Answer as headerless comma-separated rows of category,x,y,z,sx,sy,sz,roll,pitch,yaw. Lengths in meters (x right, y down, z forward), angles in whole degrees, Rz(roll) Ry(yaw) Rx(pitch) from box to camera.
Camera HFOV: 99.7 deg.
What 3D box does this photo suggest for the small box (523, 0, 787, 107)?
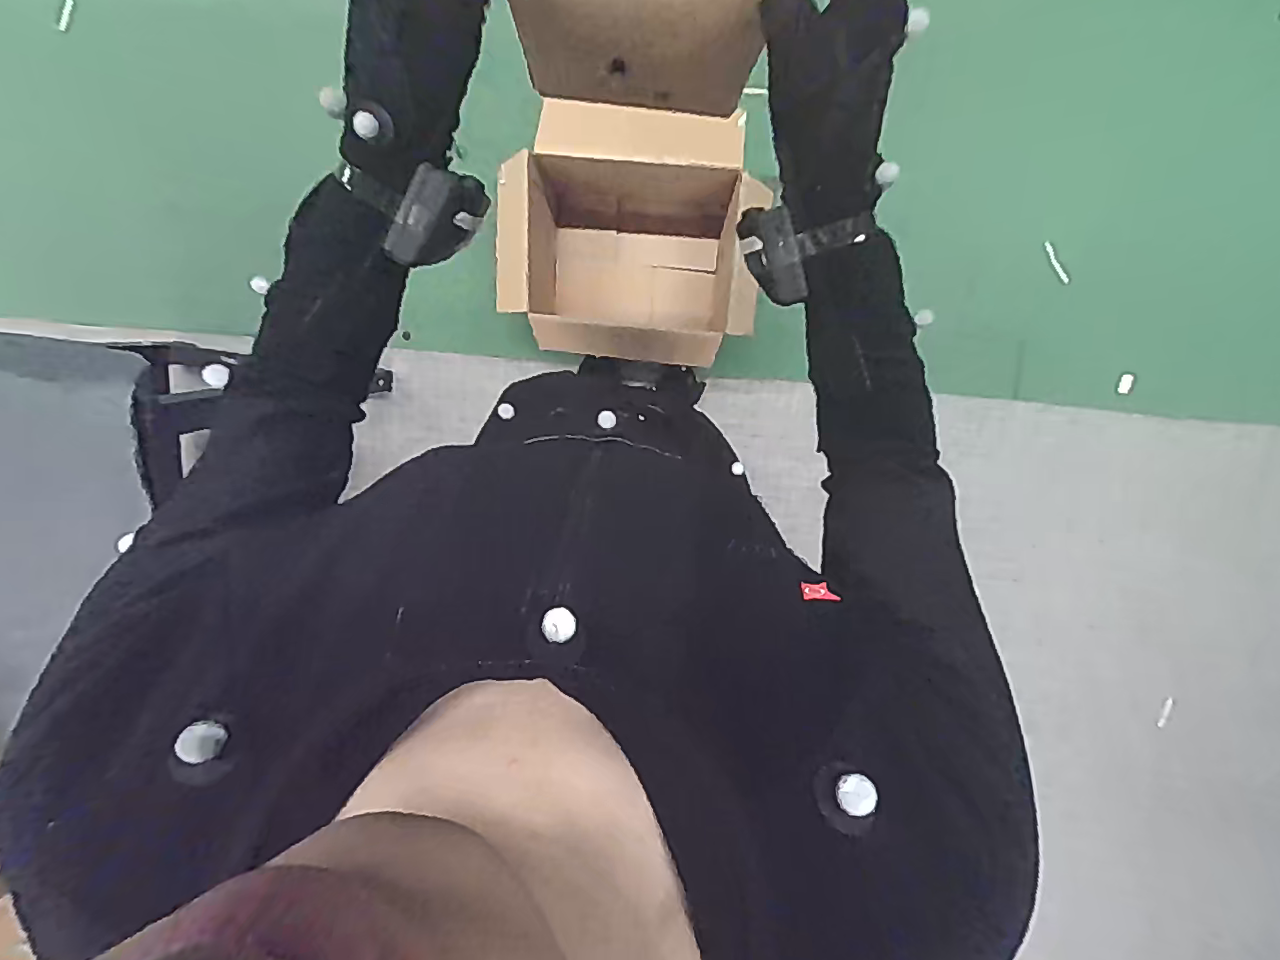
small box,0.008,-0.380,0.345,0.168,0.176,0.179,4,104,-4
